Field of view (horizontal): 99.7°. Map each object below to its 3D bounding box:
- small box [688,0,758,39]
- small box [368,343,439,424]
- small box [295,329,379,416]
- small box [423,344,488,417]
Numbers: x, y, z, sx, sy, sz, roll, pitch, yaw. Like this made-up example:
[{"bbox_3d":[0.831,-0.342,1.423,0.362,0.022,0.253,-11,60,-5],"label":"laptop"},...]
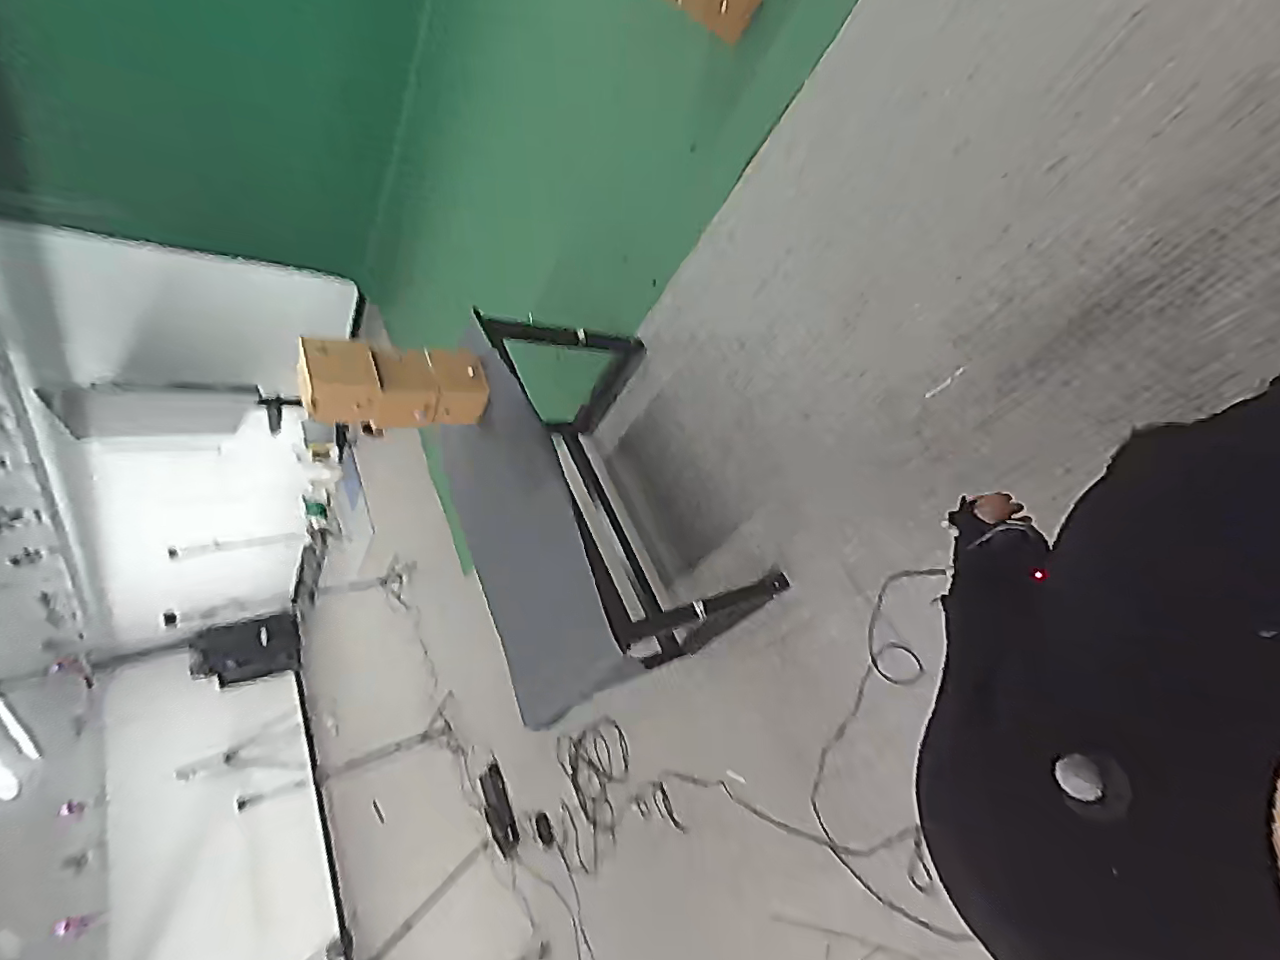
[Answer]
[{"bbox_3d":[0.267,-1.578,1.728,0.179,0.176,0.168,-44,62,42],"label":"small box"},{"bbox_3d":[-0.724,-0.286,1.620,0.179,0.176,0.168,60,136,24],"label":"small box"},{"bbox_3d":[-0.845,-0.294,1.505,0.168,0.176,0.179,-48,60,44],"label":"small box"},{"bbox_3d":[-0.604,-0.310,1.727,0.179,0.176,0.168,-43,64,44],"label":"small box"}]
